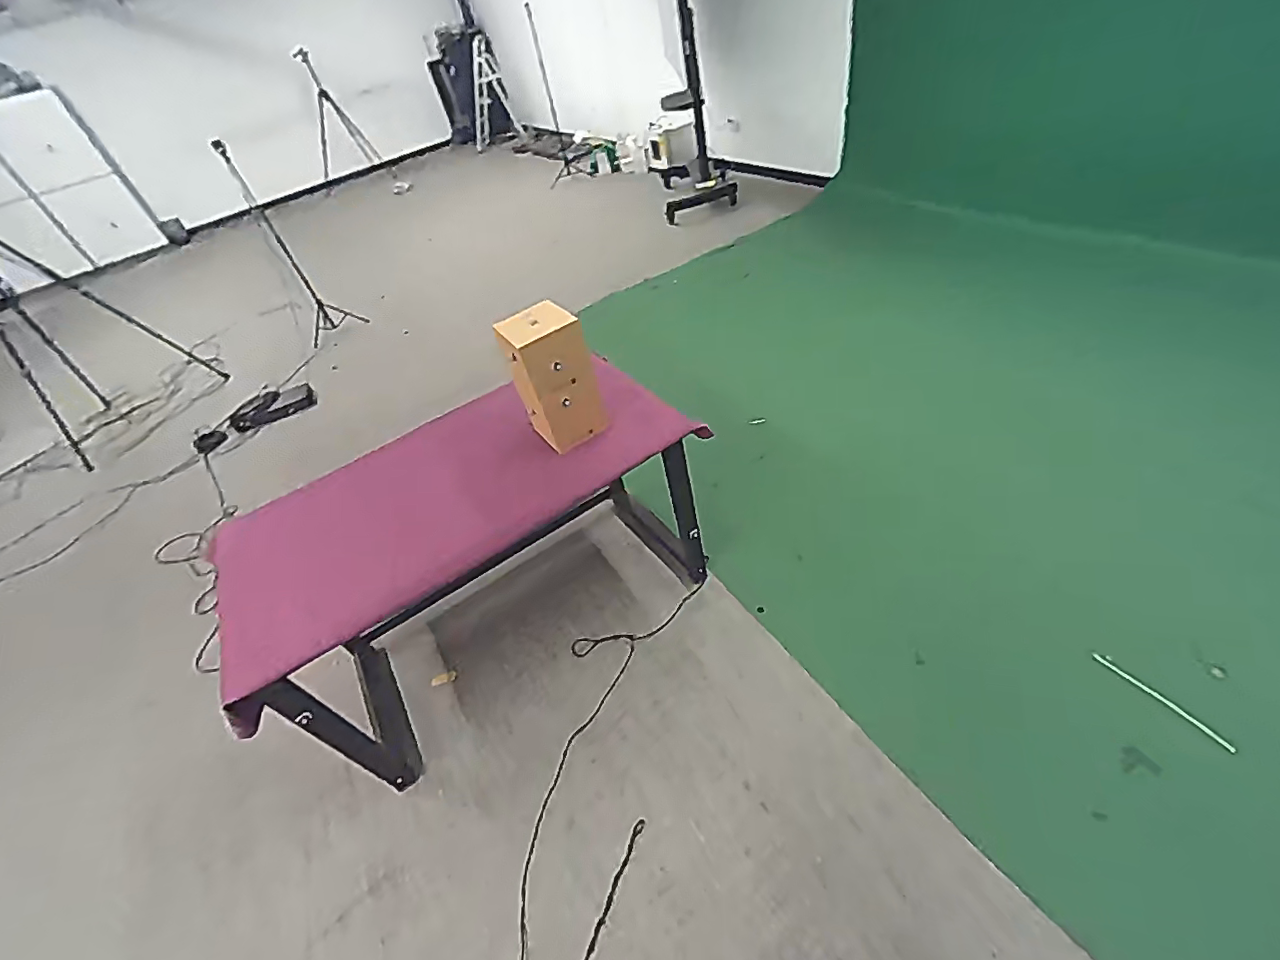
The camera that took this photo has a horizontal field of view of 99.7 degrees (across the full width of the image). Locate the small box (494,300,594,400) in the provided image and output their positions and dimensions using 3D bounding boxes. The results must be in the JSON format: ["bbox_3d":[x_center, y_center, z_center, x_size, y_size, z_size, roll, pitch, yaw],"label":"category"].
[{"bbox_3d":[-0.238,-0.323,1.367,0.168,0.176,0.179,-31,44,-16],"label":"small box"}]

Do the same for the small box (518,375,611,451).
[{"bbox_3d":[-0.203,-0.206,1.478,0.168,0.176,0.179,-33,45,-16],"label":"small box"}]
